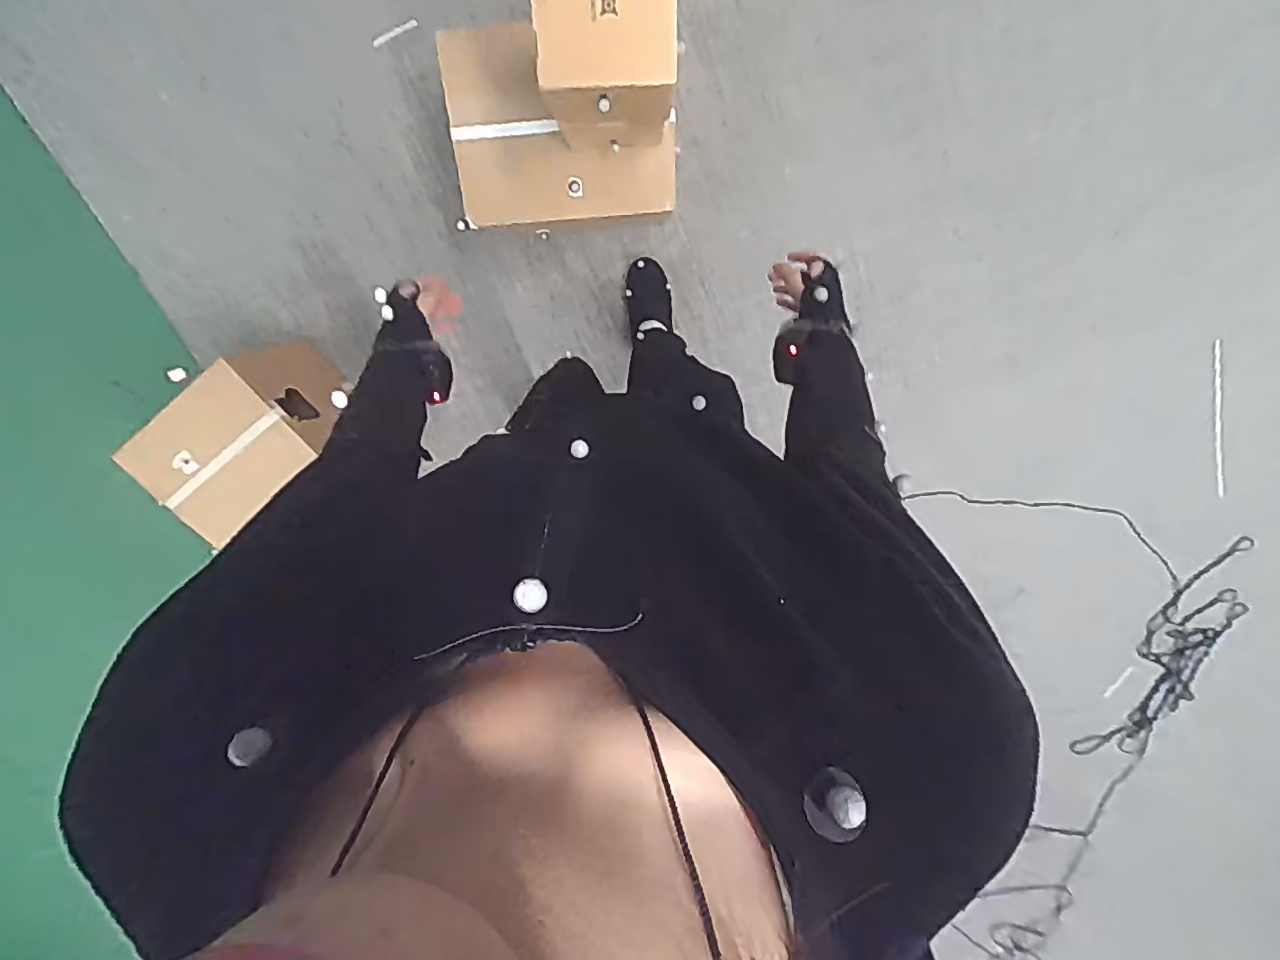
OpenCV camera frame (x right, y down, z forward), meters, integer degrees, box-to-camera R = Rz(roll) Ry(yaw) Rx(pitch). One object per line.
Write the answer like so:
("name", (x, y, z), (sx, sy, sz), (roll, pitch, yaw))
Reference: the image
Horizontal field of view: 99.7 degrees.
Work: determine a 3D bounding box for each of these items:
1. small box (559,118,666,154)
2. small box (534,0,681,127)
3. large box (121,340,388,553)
("small box", (-0.044, -0.645, 0.871), (0.168, 0.176, 0.179), (-2, 111, 2))
("small box", (-0.038, -0.587, 0.720), (0.179, 0.176, 0.168), (-1, 111, 2))
("large box", (-0.944, -0.097, 1.373), (0.408, 0.320, 0.320), (-33, 107, 14))
